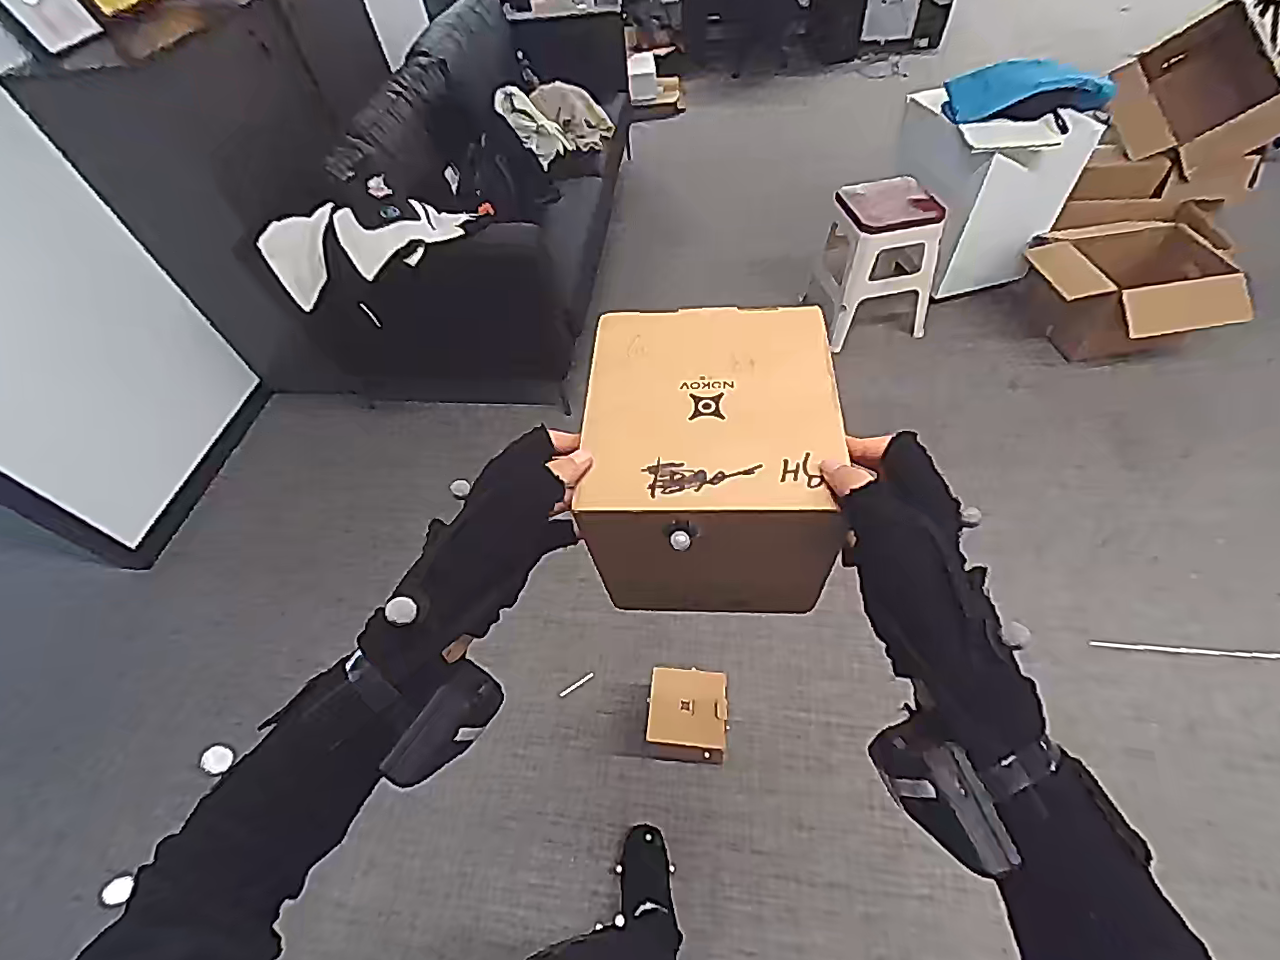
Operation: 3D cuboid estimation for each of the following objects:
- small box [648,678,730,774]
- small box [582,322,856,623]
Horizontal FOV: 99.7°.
[{"bbox_3d":[0.120,0.584,1.279,0.179,0.176,0.168,2,53,8],"label":"small box"},{"bbox_3d":[0.059,-0.003,0.433,0.168,0.176,0.179,-1,55,8],"label":"small box"}]
